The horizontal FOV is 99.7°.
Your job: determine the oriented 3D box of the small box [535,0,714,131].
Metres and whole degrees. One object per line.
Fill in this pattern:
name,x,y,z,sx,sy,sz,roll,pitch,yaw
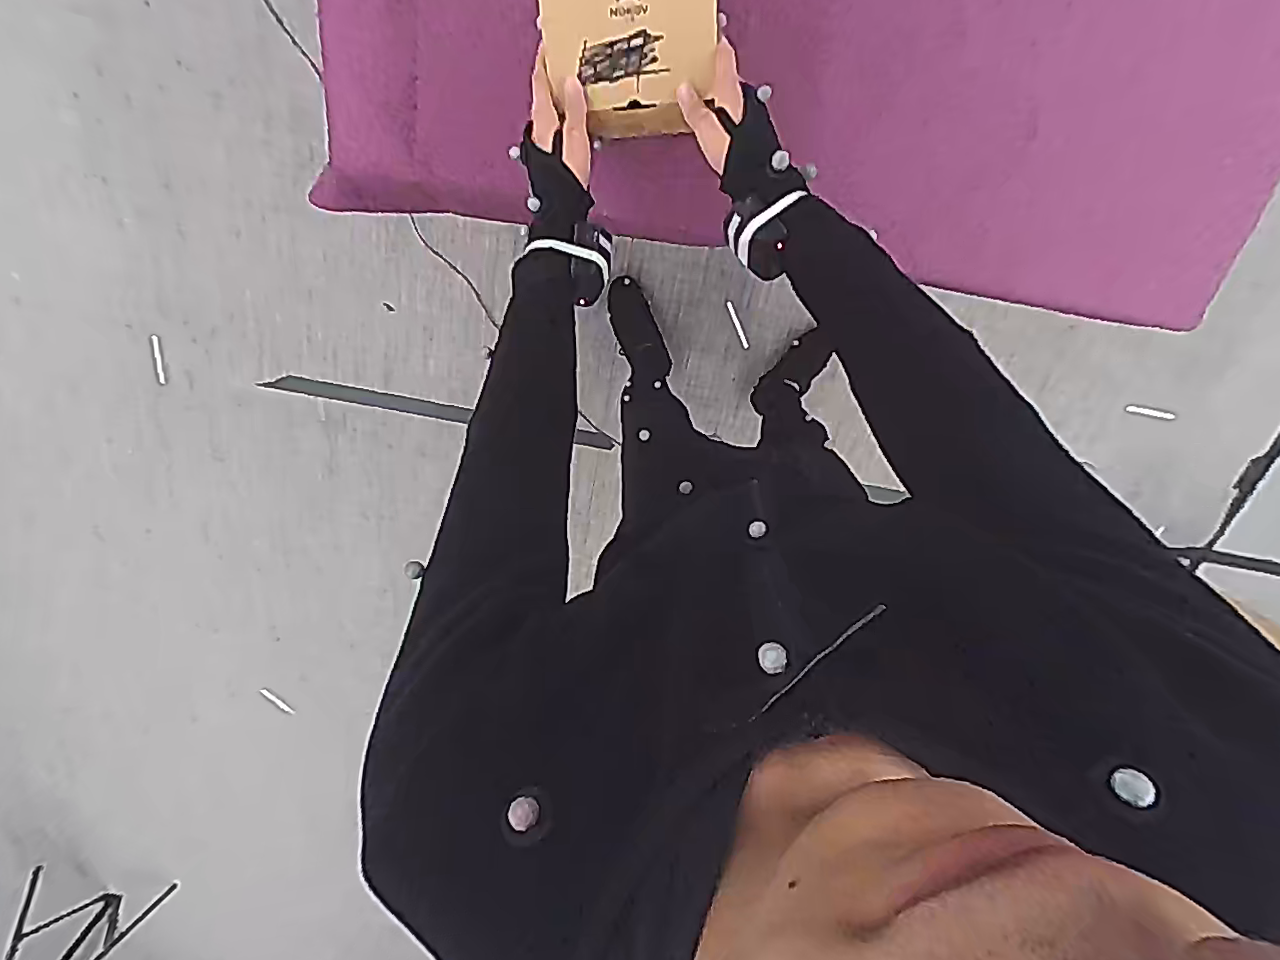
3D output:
small box,-0.013,-0.475,0.558,0.168,0.176,0.179,-3,114,2
